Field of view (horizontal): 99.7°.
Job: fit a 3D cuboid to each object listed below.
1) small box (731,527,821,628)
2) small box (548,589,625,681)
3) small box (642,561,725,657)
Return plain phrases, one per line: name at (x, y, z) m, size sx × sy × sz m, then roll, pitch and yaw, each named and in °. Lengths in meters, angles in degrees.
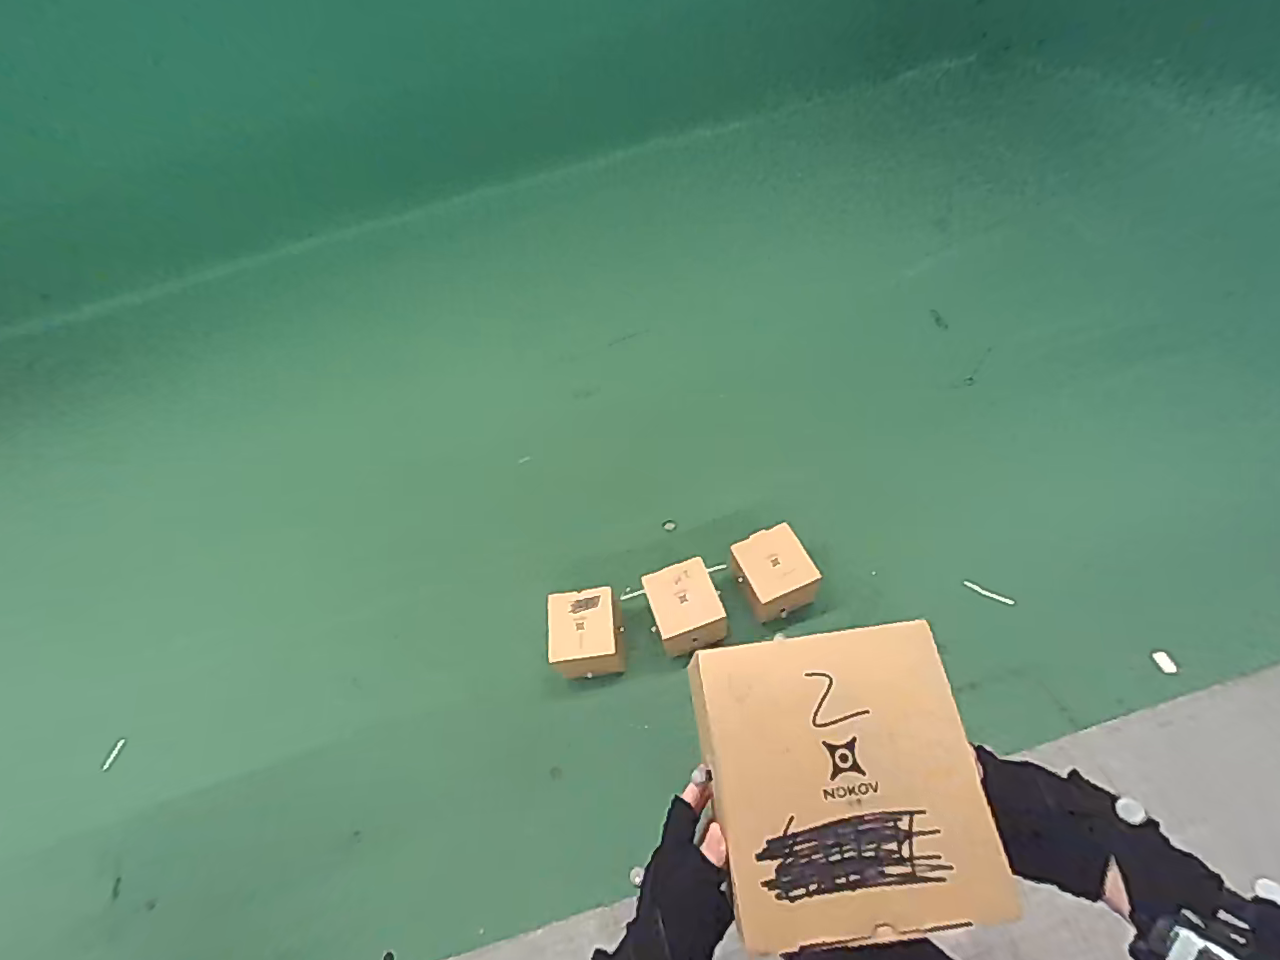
small box at (0.348, 0.259, 1.419) m, size 0.168 × 0.176 × 0.179 m, roll -22°, pitch 55°, yaw -6°
small box at (-0.136, 0.403, 1.395) m, size 0.168 × 0.176 × 0.179 m, roll -9°, pitch 56°, yaw 4°
small box at (0.115, 0.341, 1.397) m, size 0.168 × 0.176 × 0.179 m, roll -18°, pitch 55°, yaw -5°
